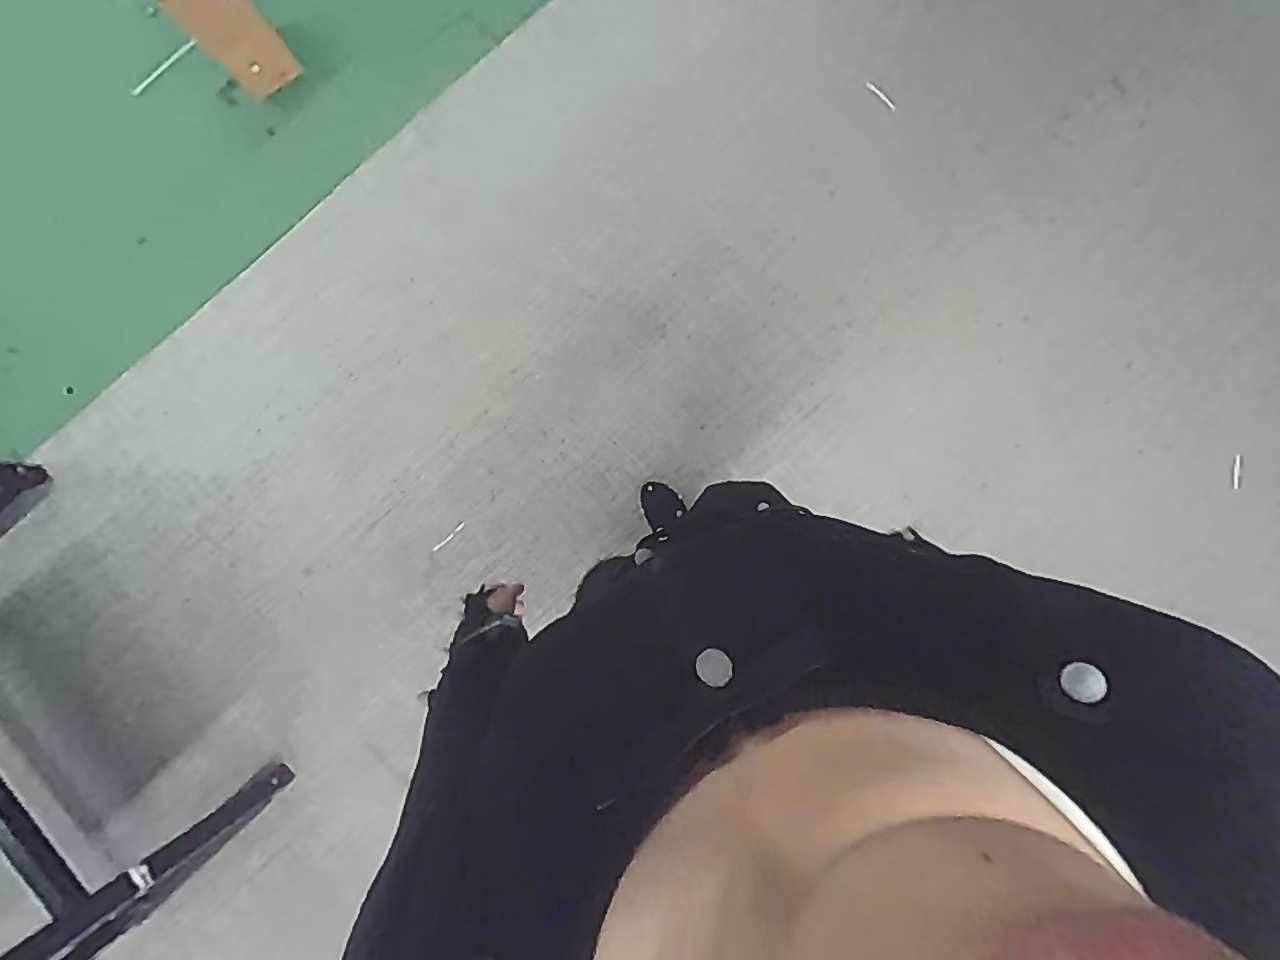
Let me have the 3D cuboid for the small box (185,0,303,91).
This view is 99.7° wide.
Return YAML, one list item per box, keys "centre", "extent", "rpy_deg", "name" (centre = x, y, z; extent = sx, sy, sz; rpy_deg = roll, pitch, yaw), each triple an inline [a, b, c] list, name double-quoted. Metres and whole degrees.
- centre: [-1.104, -1.247, 1.523]
  extent: [0.168, 0.176, 0.179]
  rpy_deg: [-34, 86, -1]
  name: "small box"
